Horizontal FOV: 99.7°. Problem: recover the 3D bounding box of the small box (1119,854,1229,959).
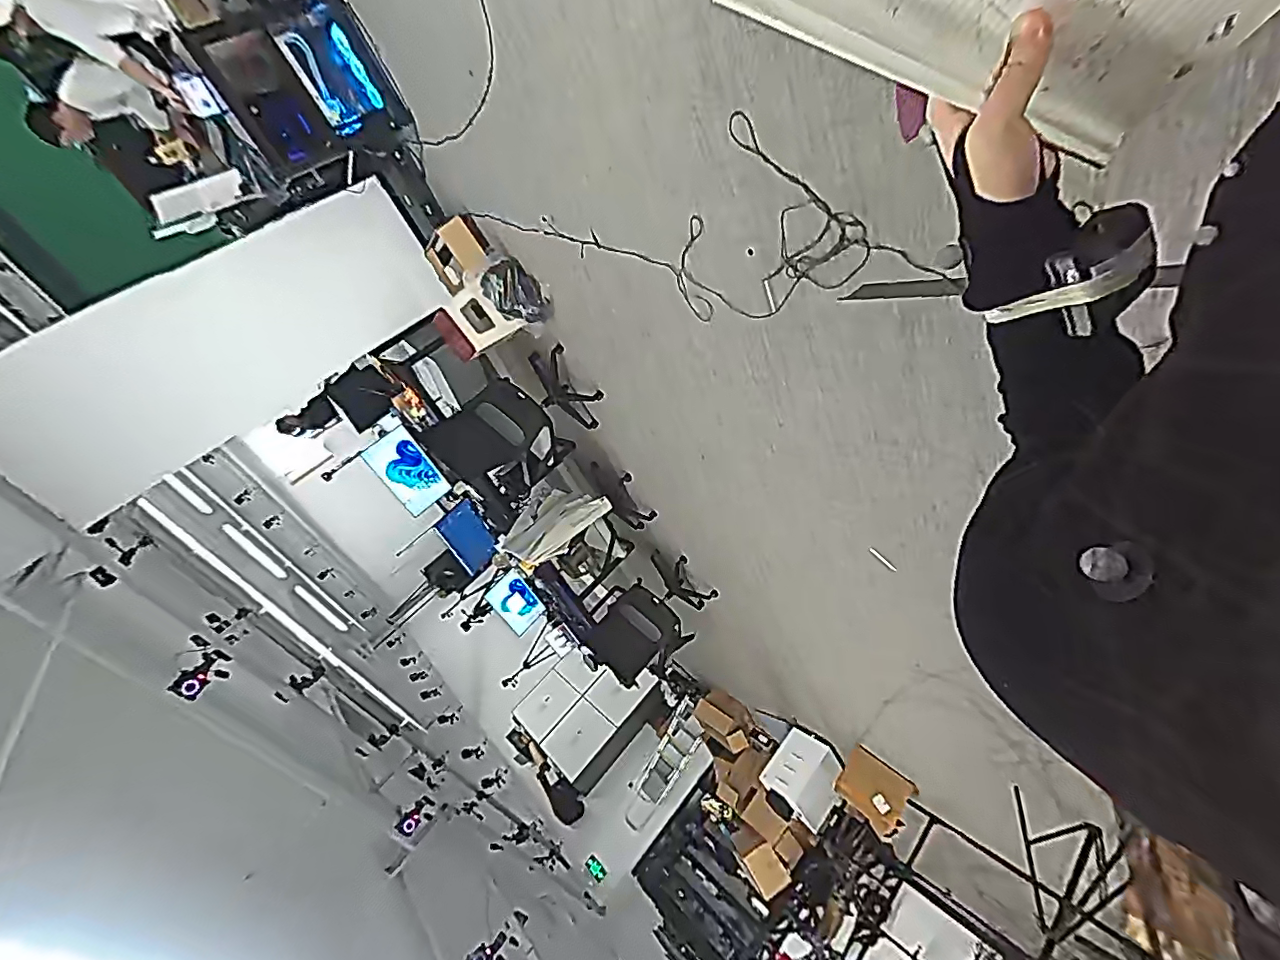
[{"bbox_3d":[1.383,1.127,1.403,0.168,0.176,0.179,18,144,49],"label":"small box"}]
